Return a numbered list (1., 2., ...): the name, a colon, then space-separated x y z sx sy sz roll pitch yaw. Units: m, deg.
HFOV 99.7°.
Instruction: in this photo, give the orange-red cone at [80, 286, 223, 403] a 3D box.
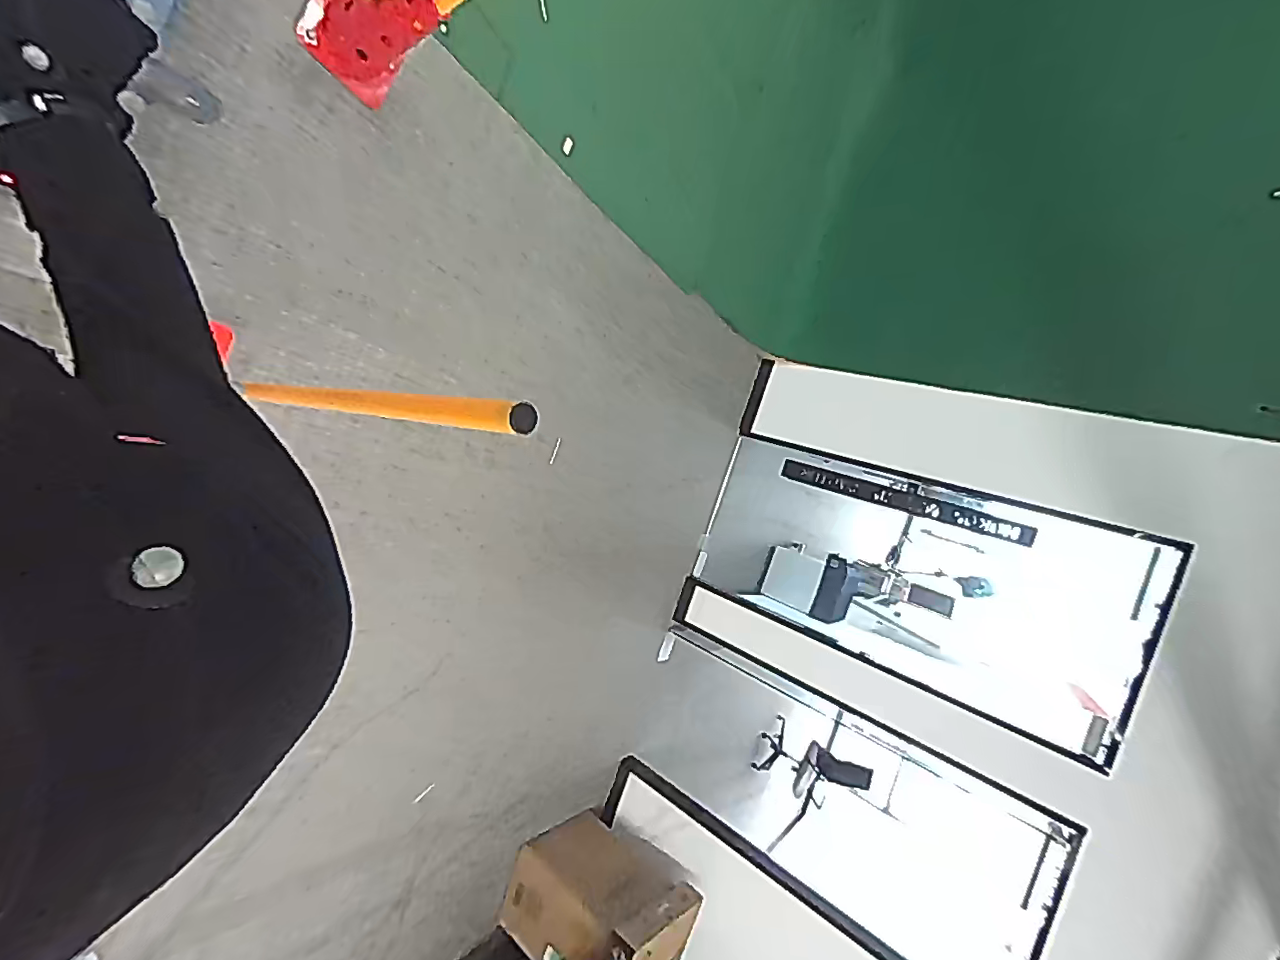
1. orange-red cone: -0.882 -0.230 1.032 0.199 0.360 0.198 19 90 -54
